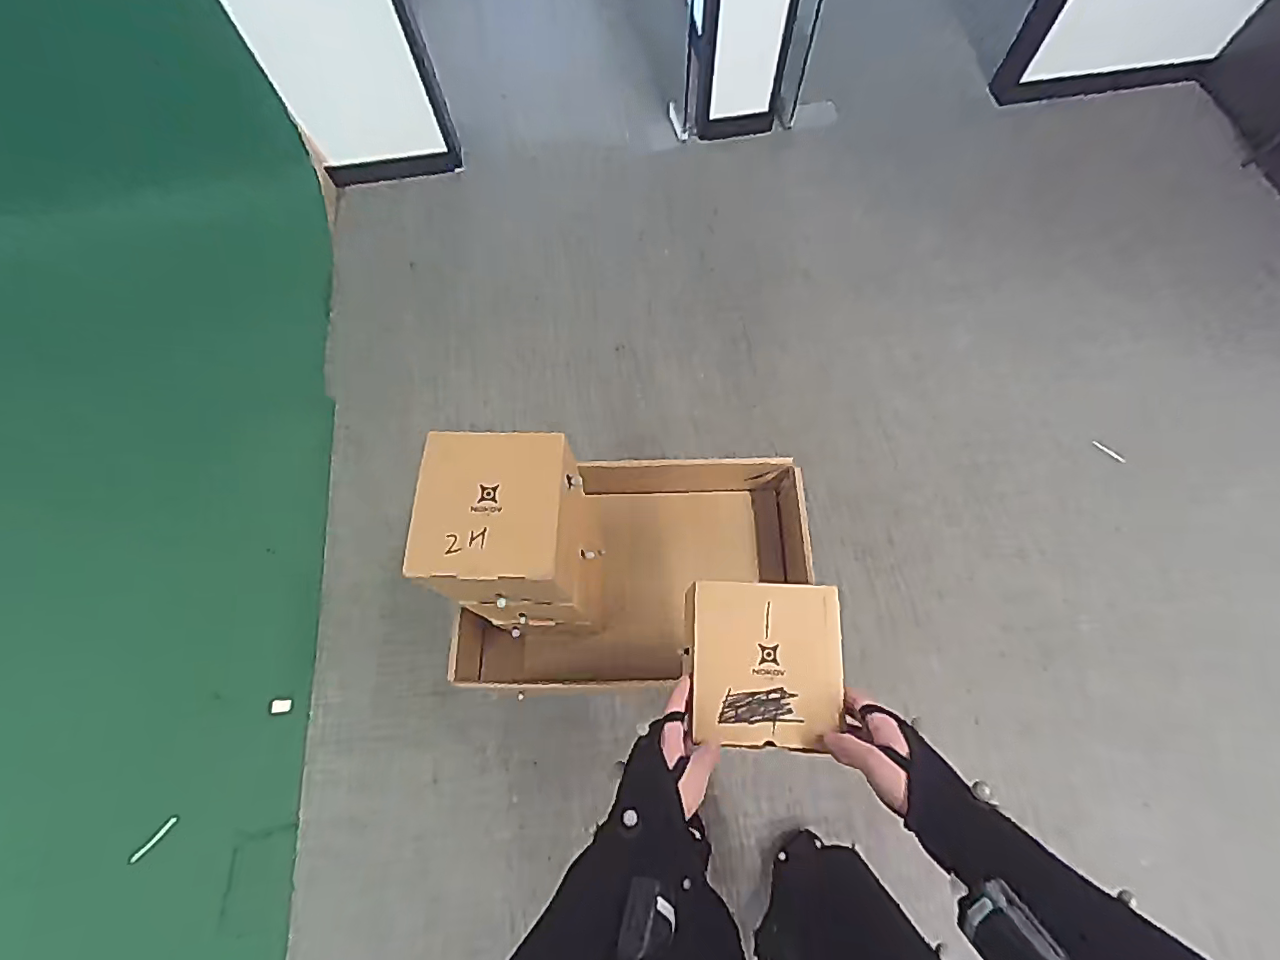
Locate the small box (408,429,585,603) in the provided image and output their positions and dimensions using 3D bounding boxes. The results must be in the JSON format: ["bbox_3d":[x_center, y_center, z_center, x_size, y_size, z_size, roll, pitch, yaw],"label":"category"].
[{"bbox_3d":[-0.164,0.052,0.684,0.168,0.176,0.179,1,69,3],"label":"small box"}]

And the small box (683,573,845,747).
[{"bbox_3d":[0.143,0.218,0.673,0.168,0.176,0.179,3,72,2],"label":"small box"}]

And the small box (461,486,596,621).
[{"bbox_3d":[-0.159,0.116,0.837,0.168,0.176,0.179,1,69,1],"label":"small box"}]
